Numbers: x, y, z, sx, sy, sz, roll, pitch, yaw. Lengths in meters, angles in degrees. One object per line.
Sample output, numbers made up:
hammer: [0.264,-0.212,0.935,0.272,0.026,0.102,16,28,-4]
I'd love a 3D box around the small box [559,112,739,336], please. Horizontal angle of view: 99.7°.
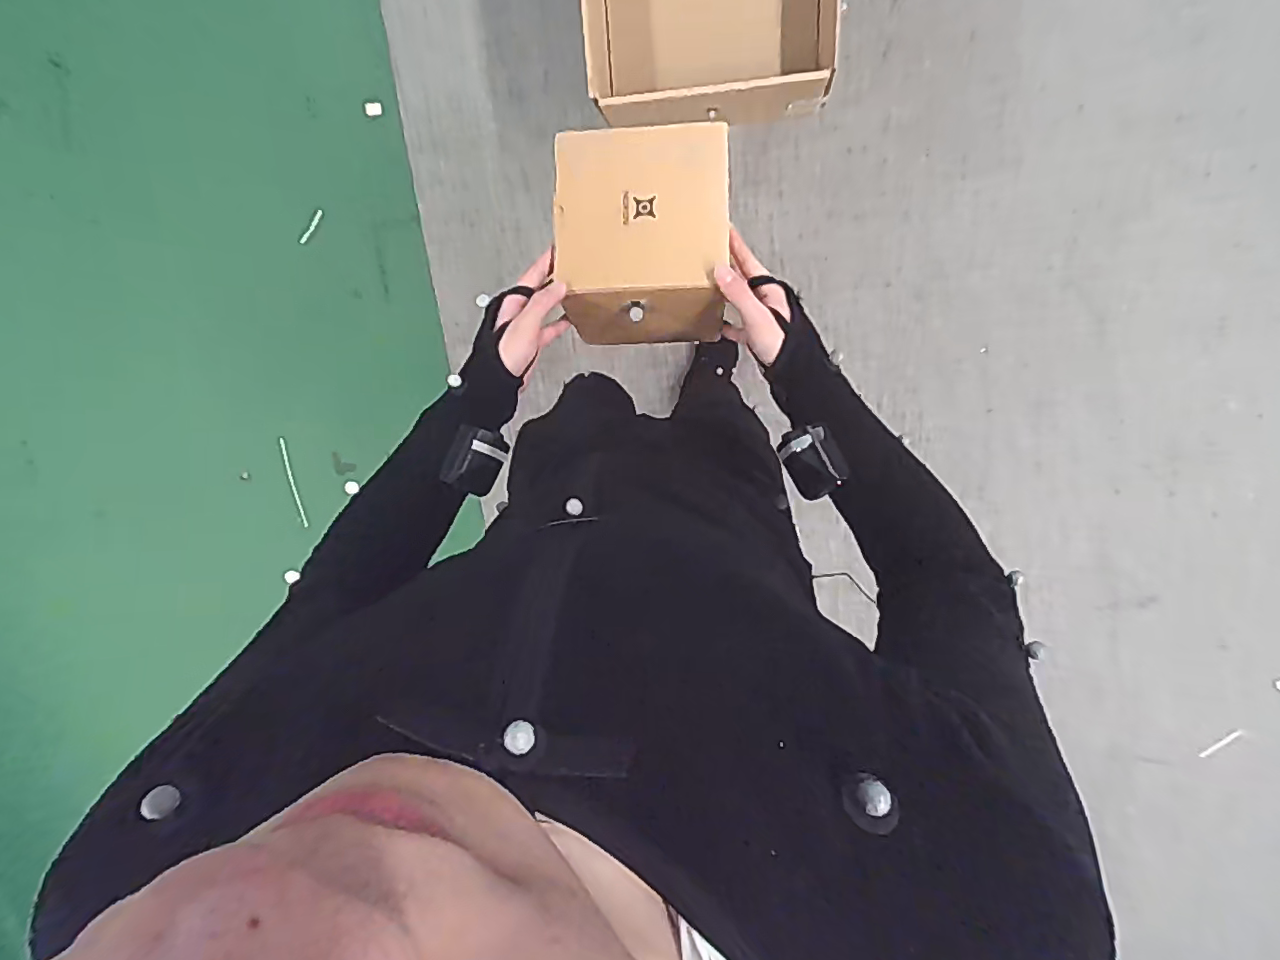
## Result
small box: [0.015,-0.268,0.603,0.179,0.176,0.168,-1,87,7]
